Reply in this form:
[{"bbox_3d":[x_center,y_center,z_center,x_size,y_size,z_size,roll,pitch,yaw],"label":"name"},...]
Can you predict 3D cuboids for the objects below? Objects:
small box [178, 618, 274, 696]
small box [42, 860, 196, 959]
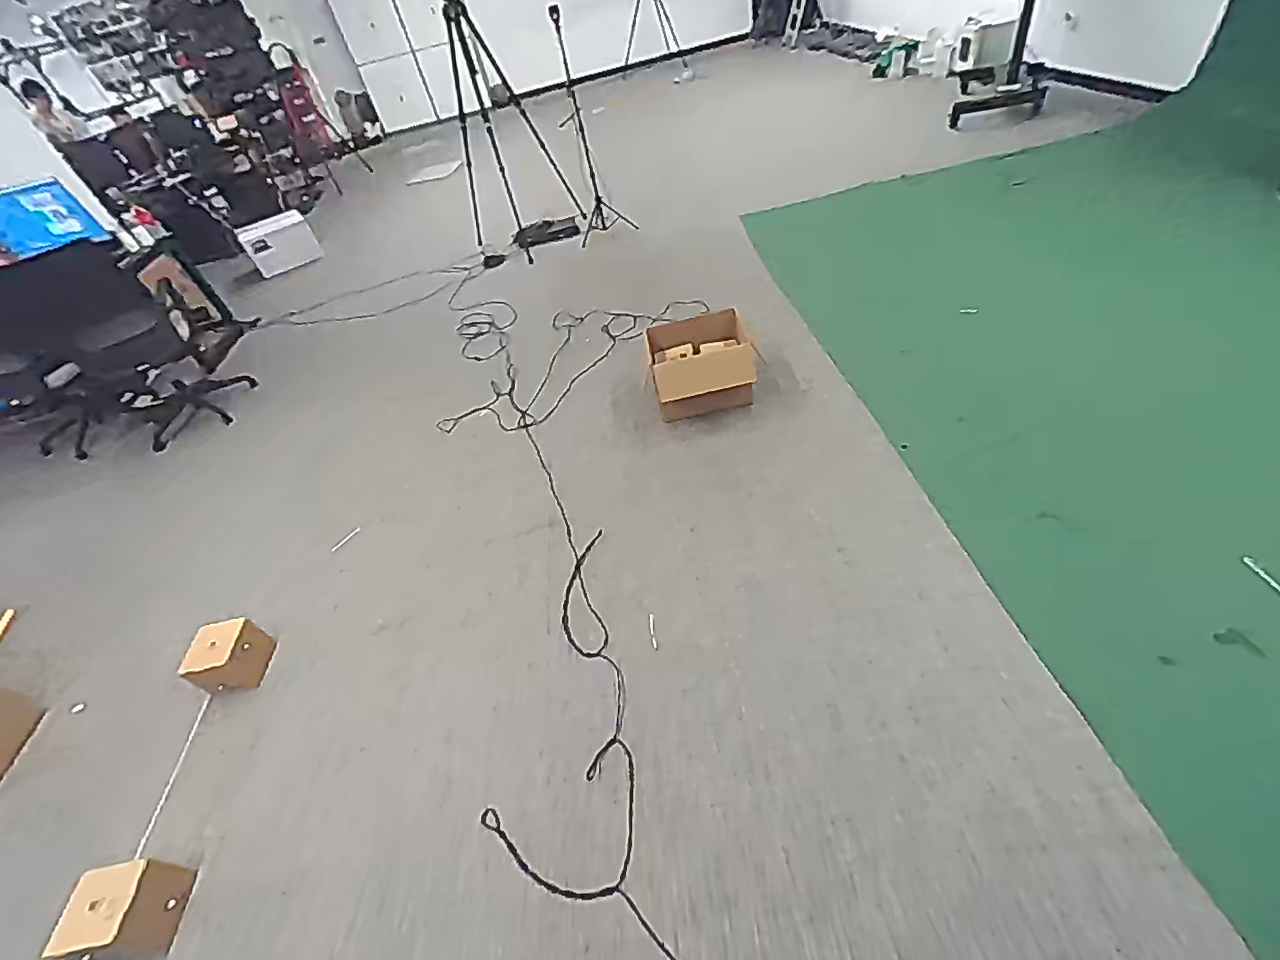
[{"bbox_3d":[-1.375,0.594,1.814,0.168,0.176,0.179,-13,45,1],"label":"small box"},{"bbox_3d":[-1.261,1.063,1.326,0.179,0.176,0.168,-14,45,2],"label":"small box"}]
